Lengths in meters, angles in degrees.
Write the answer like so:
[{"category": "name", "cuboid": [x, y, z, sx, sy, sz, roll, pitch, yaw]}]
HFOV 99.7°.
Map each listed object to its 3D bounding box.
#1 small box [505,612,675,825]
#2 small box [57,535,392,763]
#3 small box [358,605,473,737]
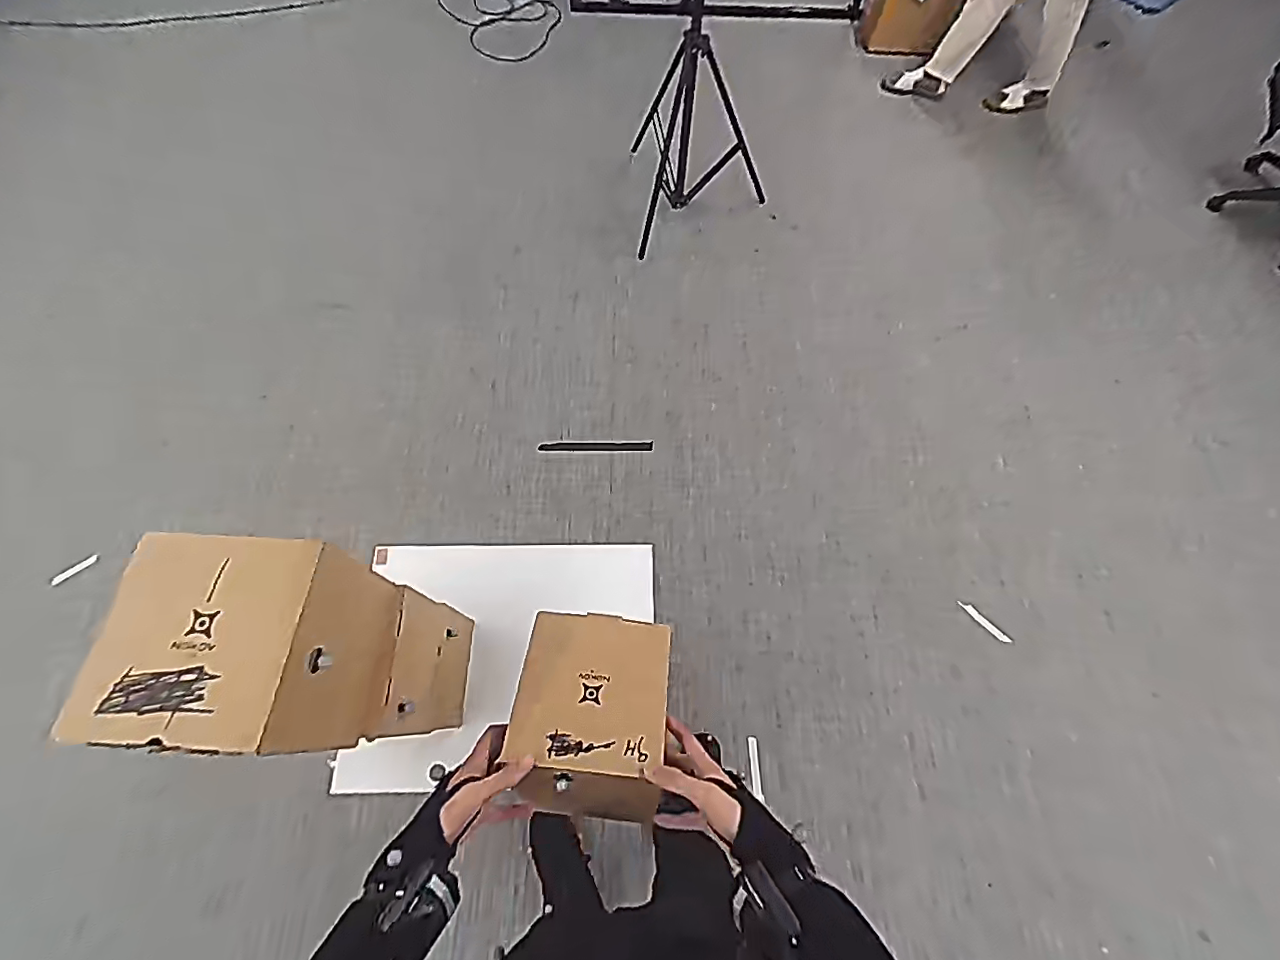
[{"category": "small box", "cuboid": [-0.052, 0.287, 0.653, 0.168, 0.176, 0.179, 6, 45, 2]}, {"category": "small box", "cuboid": [-0.366, 0.165, 0.523, 0.168, 0.176, 0.179, 3, 65, 1]}, {"category": "small box", "cuboid": [-0.364, 0.292, 0.826, 0.168, 0.176, 0.179, 1, 66, -1]}]
